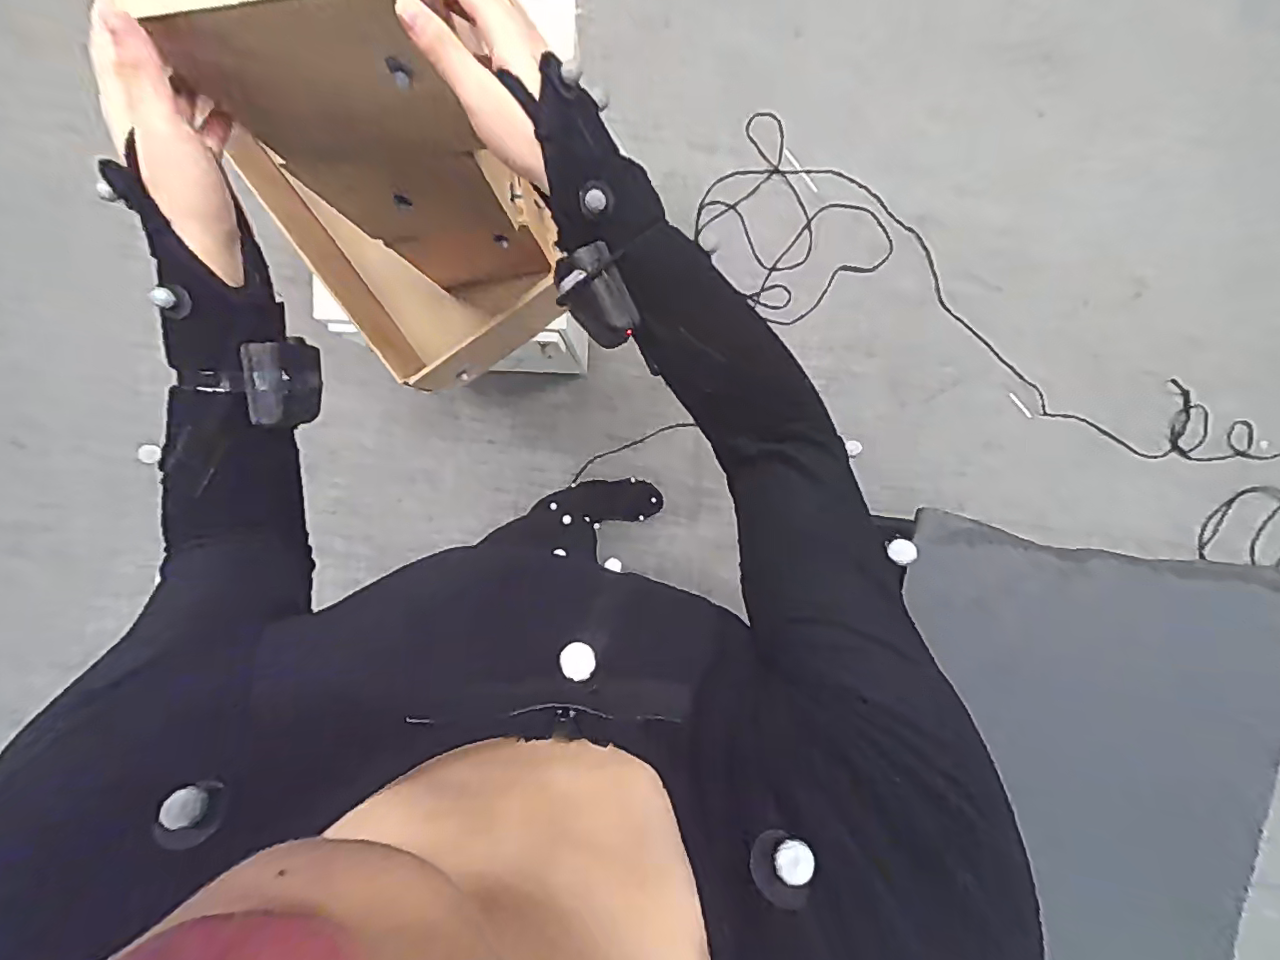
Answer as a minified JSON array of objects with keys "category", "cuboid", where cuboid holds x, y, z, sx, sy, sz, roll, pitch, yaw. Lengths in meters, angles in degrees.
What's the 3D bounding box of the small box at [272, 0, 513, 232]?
[{"category":"small box","cuboid":[-0.234,-0.372,0.556,0.179,0.176,0.168,-2,92,2]}]
